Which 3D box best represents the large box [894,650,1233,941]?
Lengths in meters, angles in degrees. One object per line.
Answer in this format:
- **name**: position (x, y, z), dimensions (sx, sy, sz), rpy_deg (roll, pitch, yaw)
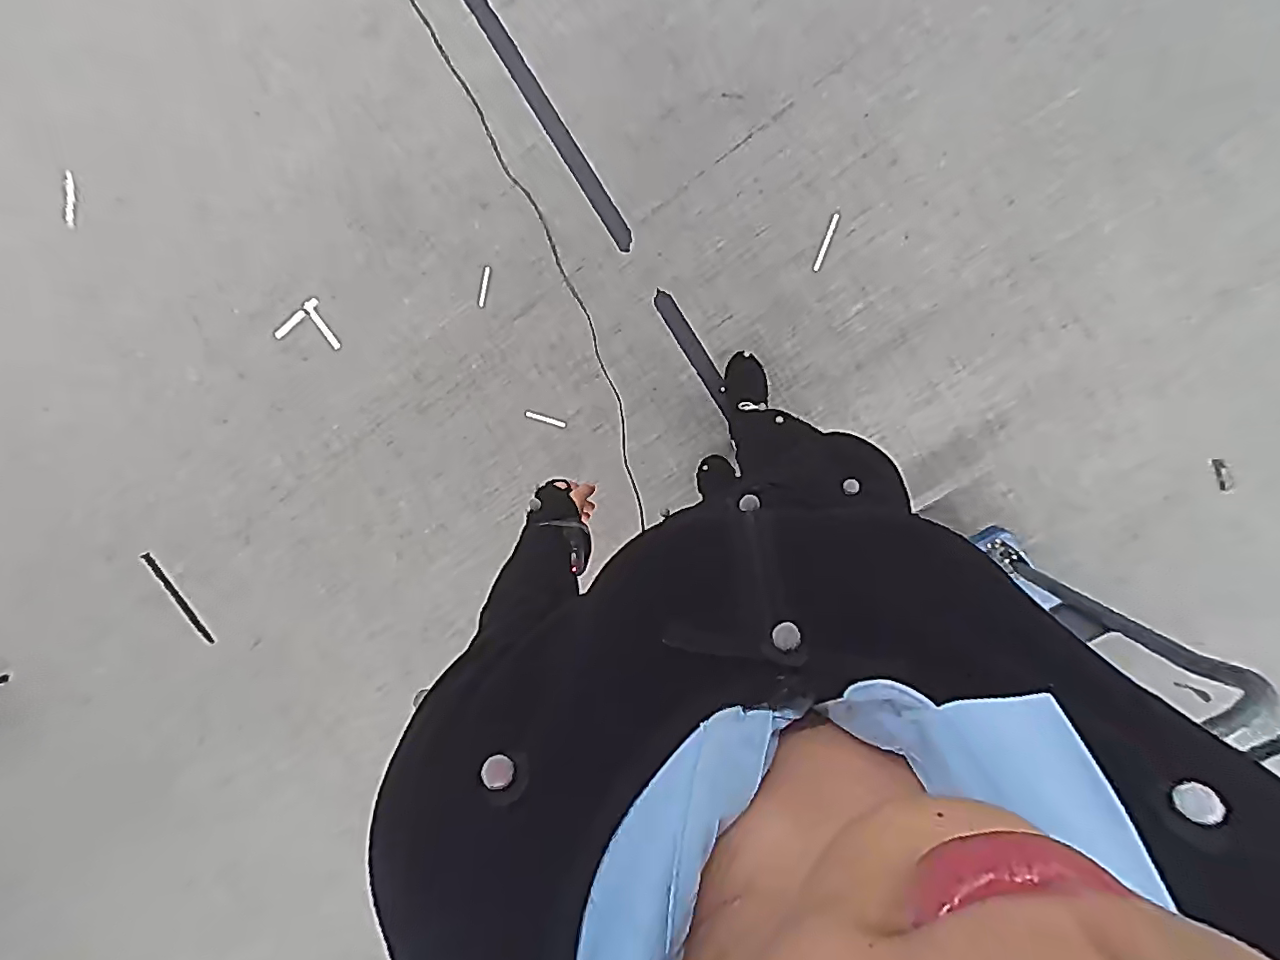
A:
- **large box**: position (0.841, 0.639, 1.145), dimensions (0.408, 0.320, 0.320), rpy_deg (-33, 94, 11)
